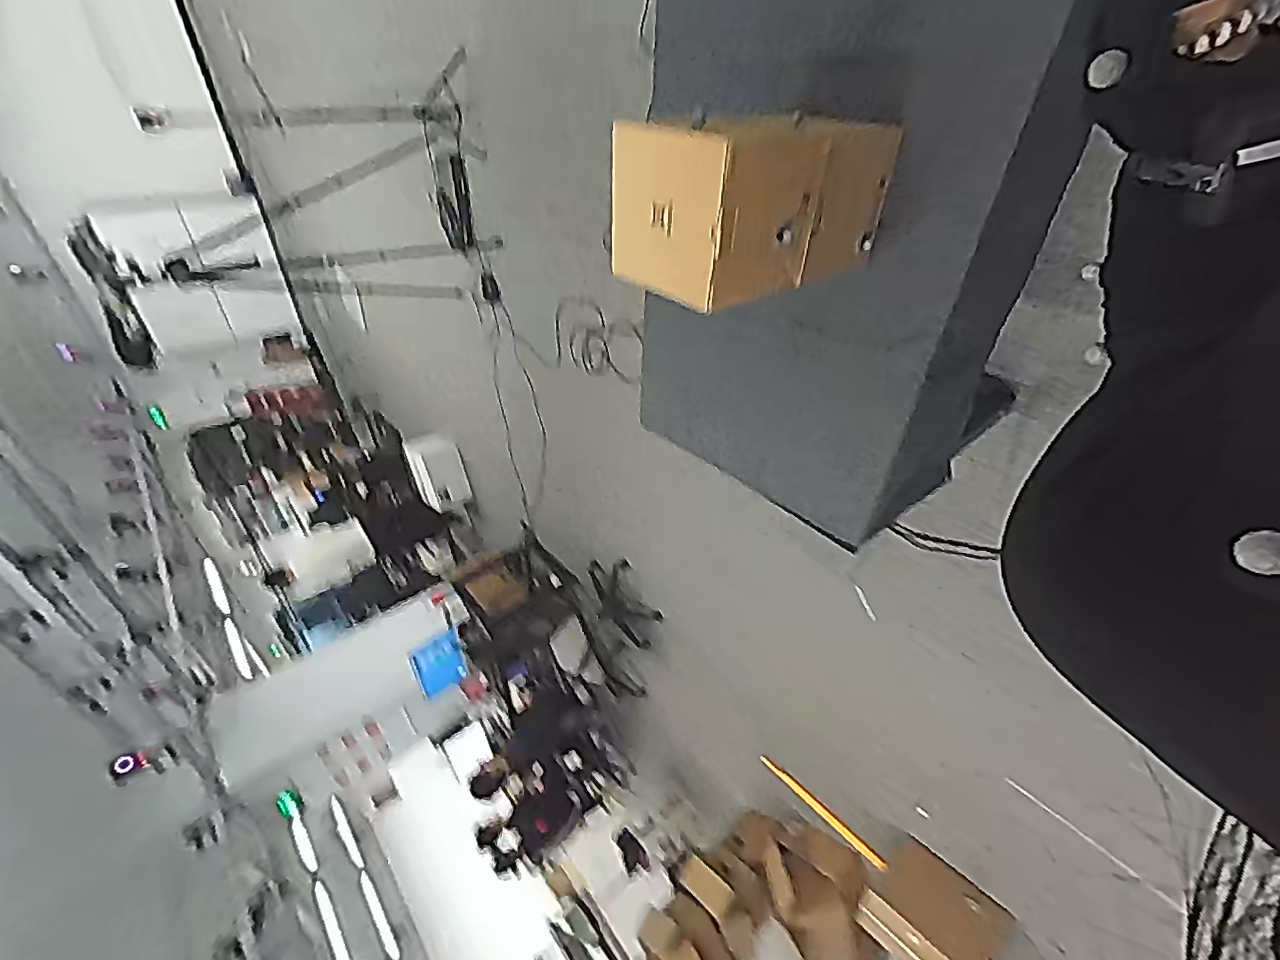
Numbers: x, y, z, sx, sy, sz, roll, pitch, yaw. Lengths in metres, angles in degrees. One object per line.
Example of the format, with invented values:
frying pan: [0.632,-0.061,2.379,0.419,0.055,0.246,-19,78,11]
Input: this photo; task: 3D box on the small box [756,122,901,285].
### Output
small box: [0.222,-0.386,0.741,0.179,0.176,0.168,36,139,38]

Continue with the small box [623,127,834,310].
small box: [0.099,-0.324,0.655,0.179,0.176,0.168,35,138,37]
